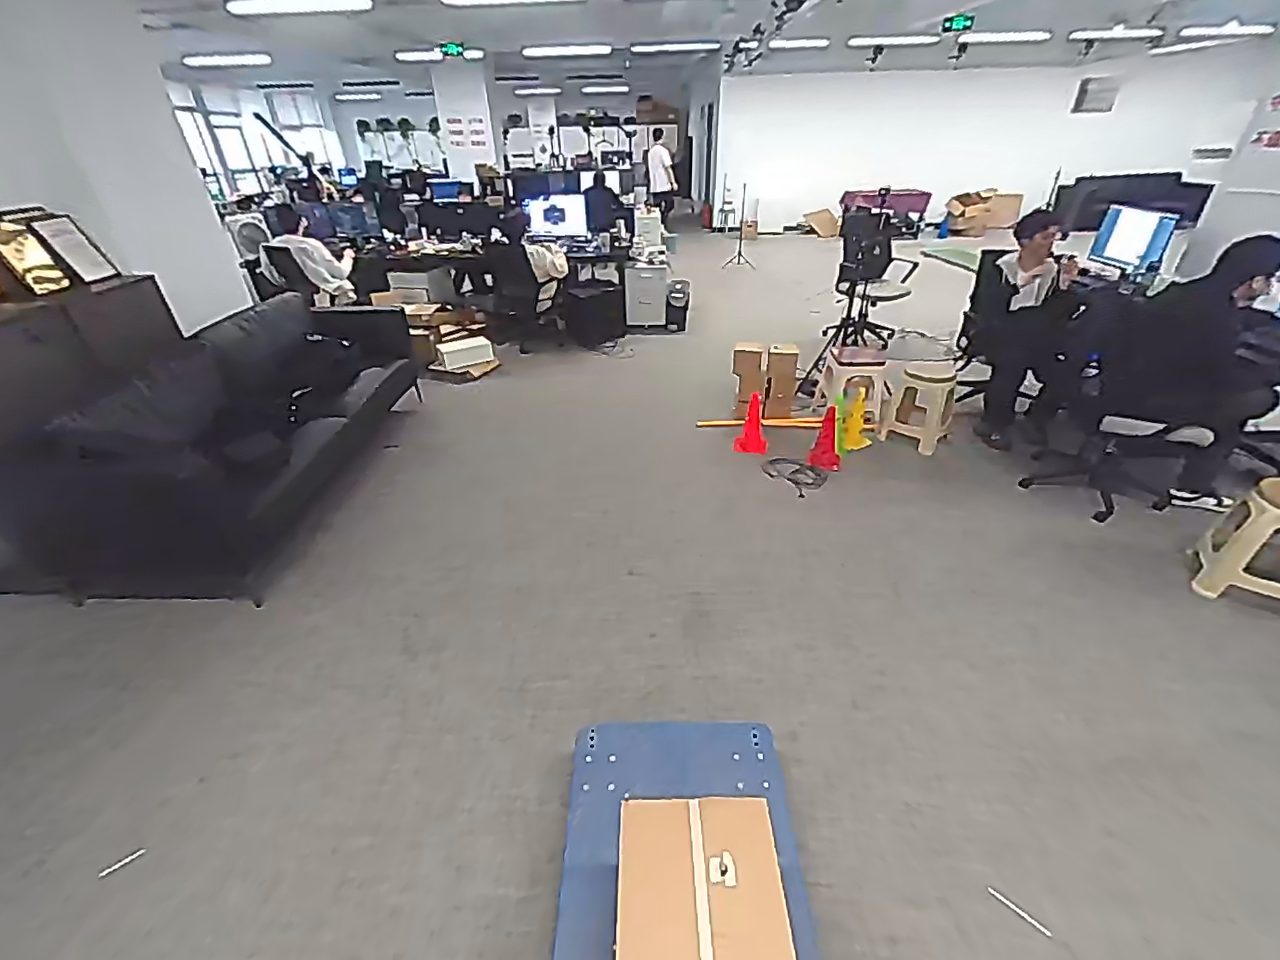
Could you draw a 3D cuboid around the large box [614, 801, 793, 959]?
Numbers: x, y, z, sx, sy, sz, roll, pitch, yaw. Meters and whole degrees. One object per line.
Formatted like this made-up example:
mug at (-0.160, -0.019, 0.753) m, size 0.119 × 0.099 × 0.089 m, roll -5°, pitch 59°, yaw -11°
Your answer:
large box at (0.114, 0.924, 1.064) m, size 0.320 × 0.320 × 0.408 m, roll -1°, pitch 31°, yaw 0°
